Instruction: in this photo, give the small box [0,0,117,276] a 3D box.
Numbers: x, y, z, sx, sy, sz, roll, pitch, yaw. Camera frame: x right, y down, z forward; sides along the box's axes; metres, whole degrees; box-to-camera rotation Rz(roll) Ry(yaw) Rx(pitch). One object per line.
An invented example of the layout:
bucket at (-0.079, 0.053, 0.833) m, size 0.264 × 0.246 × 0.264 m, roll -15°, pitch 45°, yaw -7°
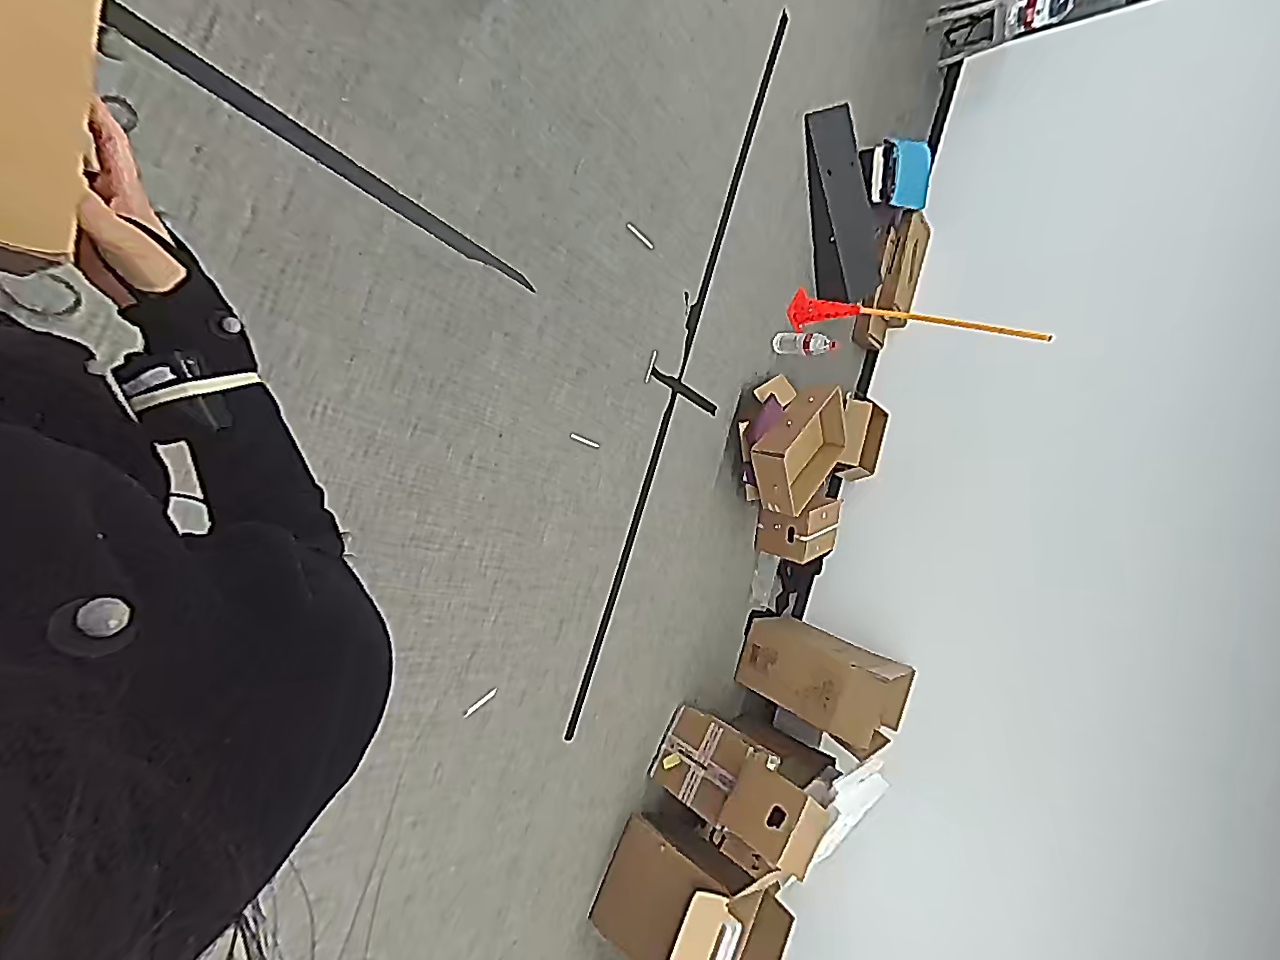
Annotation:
small box at (-0.385, -0.213, 0.255) m, size 0.168 × 0.176 × 0.179 m, roll 6°, pitch 96°, yaw -54°
